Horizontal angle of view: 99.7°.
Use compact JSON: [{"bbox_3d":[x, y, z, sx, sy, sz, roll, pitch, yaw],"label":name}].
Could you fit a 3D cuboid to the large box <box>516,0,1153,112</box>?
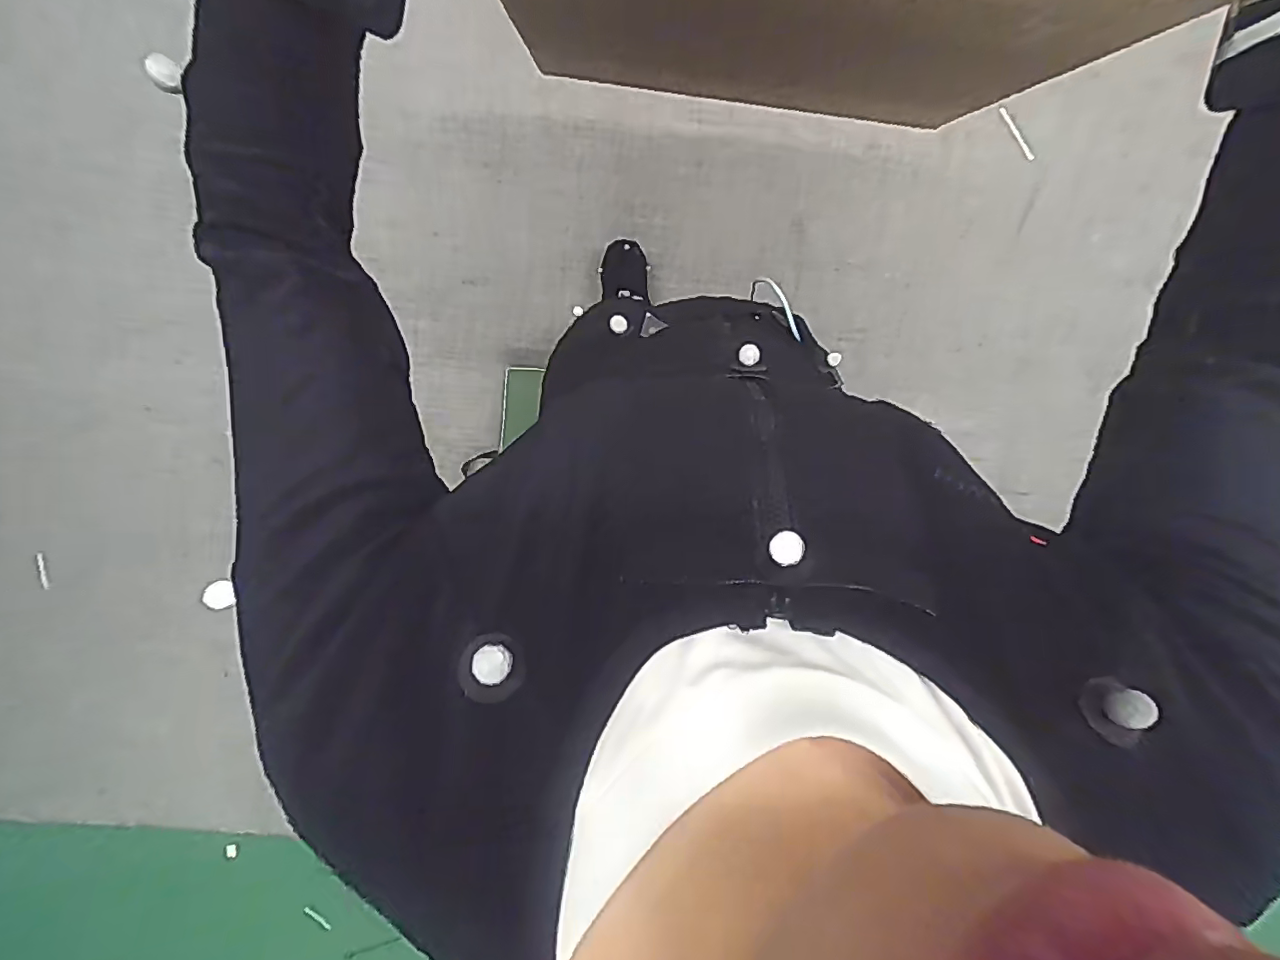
[{"bbox_3d":[0.117,-0.470,0.344,0.408,0.320,0.320,5,113,-3],"label":"large box"}]
